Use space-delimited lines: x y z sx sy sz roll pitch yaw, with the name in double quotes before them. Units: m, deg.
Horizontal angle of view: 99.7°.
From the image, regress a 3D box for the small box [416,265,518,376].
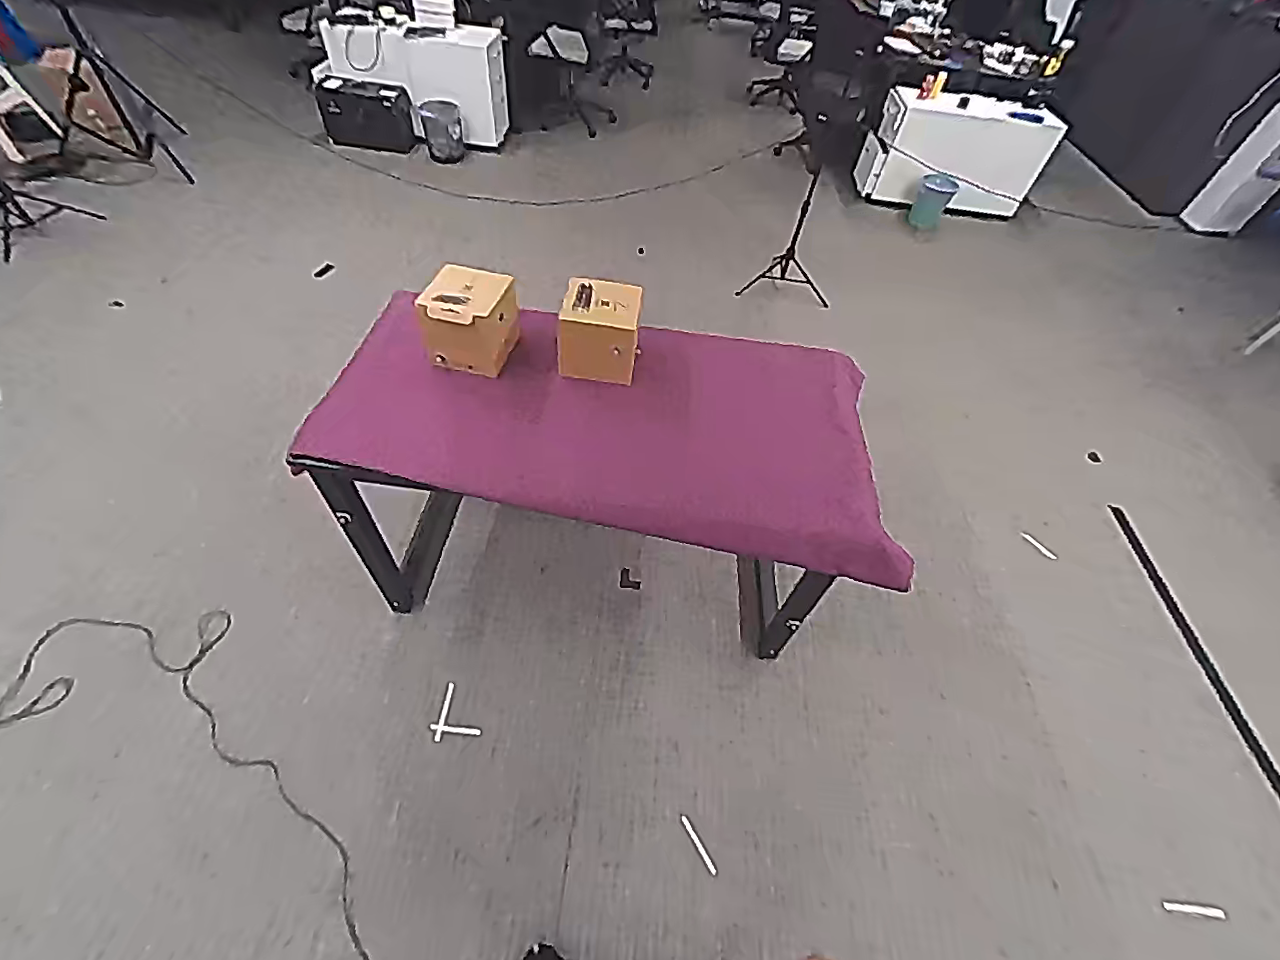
"small box" -0.393 -0.370 1.269 0.168 0.176 0.179 12 51 3
